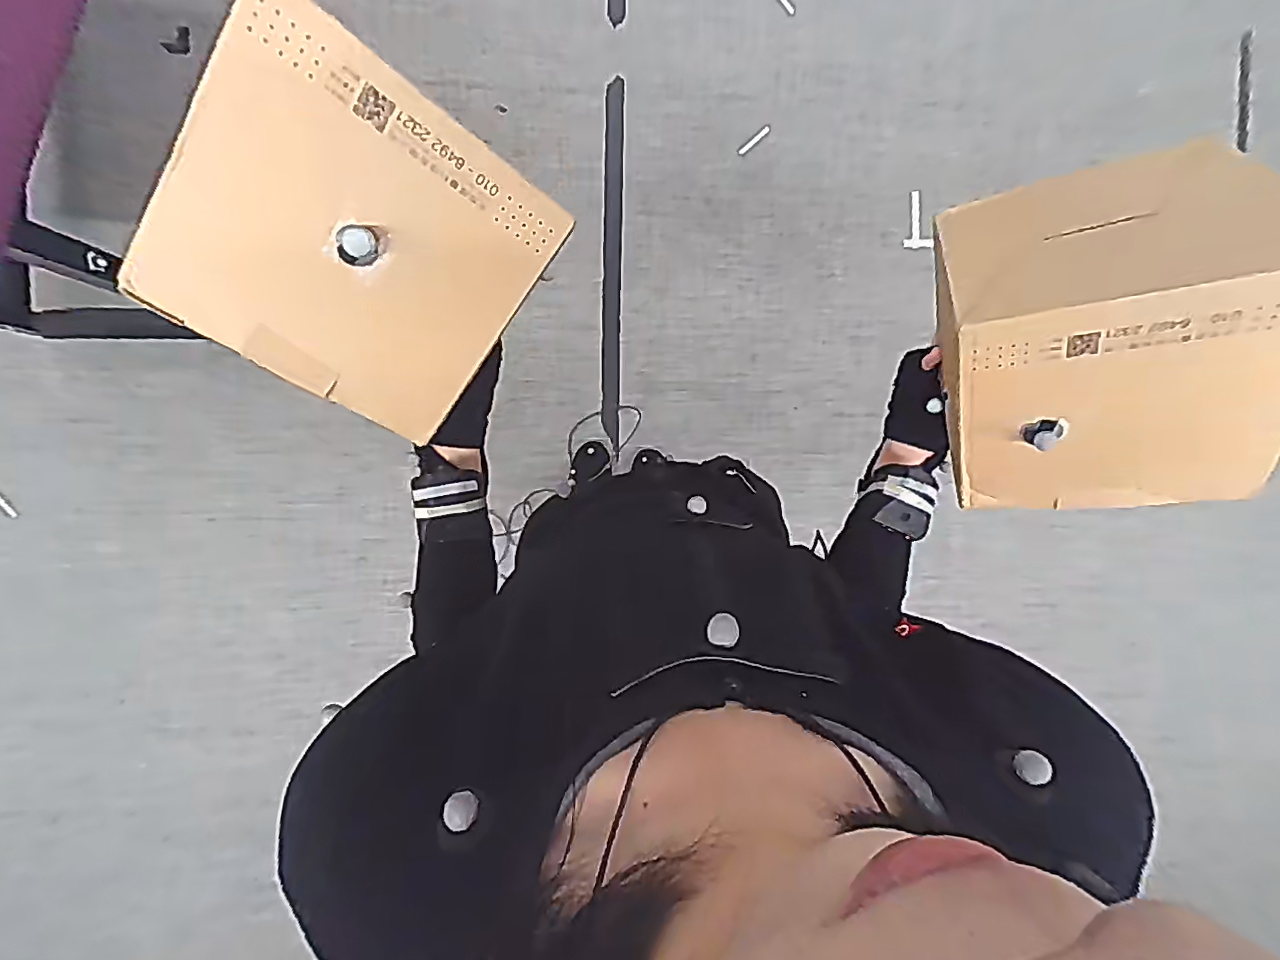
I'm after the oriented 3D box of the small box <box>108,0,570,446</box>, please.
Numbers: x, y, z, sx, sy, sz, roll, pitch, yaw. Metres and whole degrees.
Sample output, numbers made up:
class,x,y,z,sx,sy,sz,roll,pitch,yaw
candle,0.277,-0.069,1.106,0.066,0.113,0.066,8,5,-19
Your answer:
class,x,y,z,sx,sy,sz,roll,pitch,yaw
small box,-0.160,-0.156,0.341,0.168,0.179,0.176,32,106,-26

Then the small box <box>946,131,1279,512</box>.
class,x,y,z,sx,sy,sz,roll,pitch,yaw
small box,0.310,-0.099,0.368,0.168,0.179,0.176,-4,134,26
